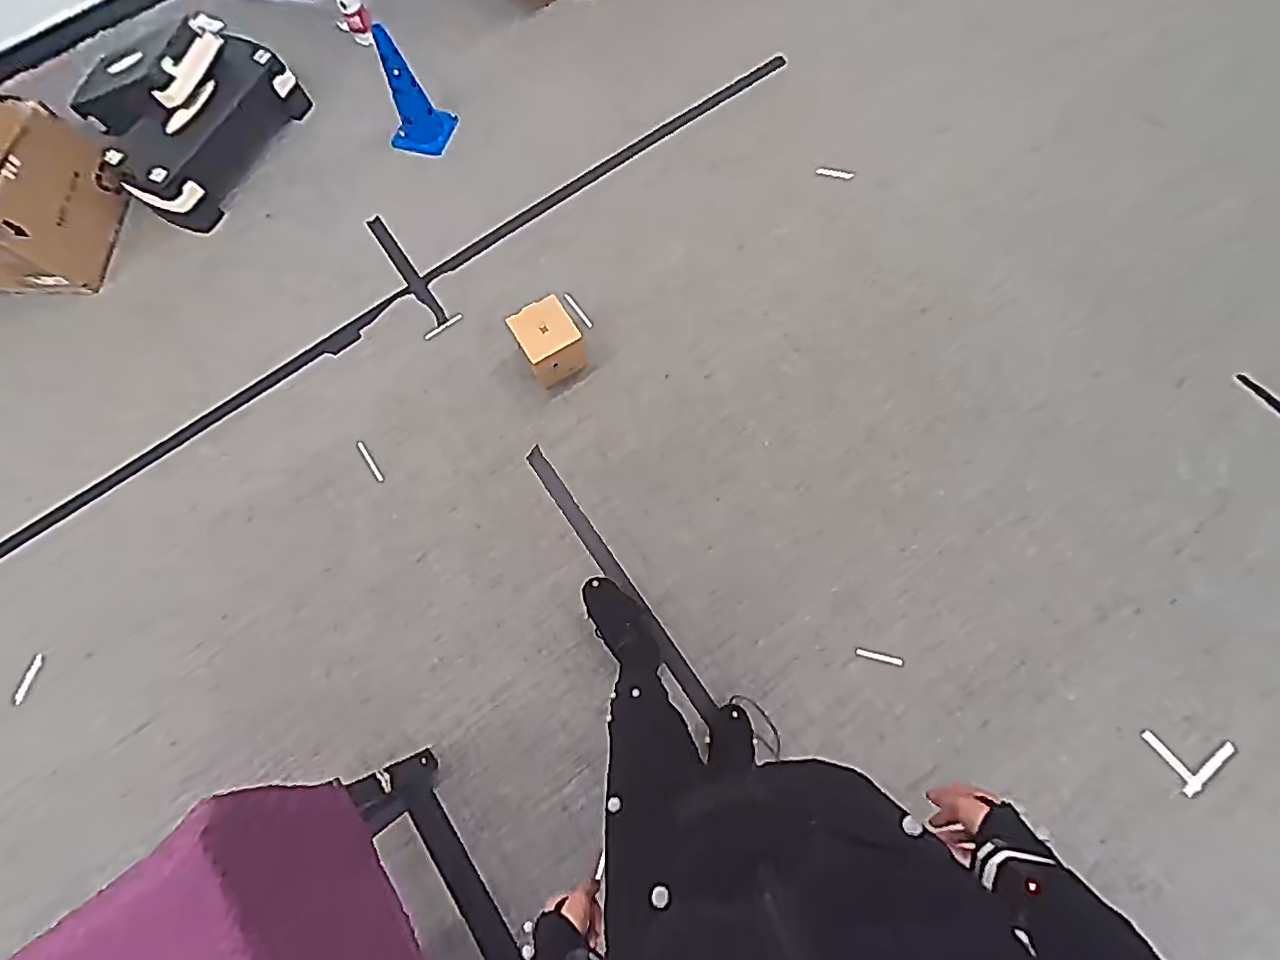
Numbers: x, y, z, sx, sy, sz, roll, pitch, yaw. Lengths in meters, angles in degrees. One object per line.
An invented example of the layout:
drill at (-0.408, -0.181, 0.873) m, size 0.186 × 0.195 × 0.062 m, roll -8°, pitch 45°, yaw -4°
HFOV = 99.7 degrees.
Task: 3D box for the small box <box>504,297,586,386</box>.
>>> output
small box at (-0.280, -0.408, 1.638) m, size 0.168 × 0.176 × 0.179 m, roll -31°, pitch 74°, yaw -7°
